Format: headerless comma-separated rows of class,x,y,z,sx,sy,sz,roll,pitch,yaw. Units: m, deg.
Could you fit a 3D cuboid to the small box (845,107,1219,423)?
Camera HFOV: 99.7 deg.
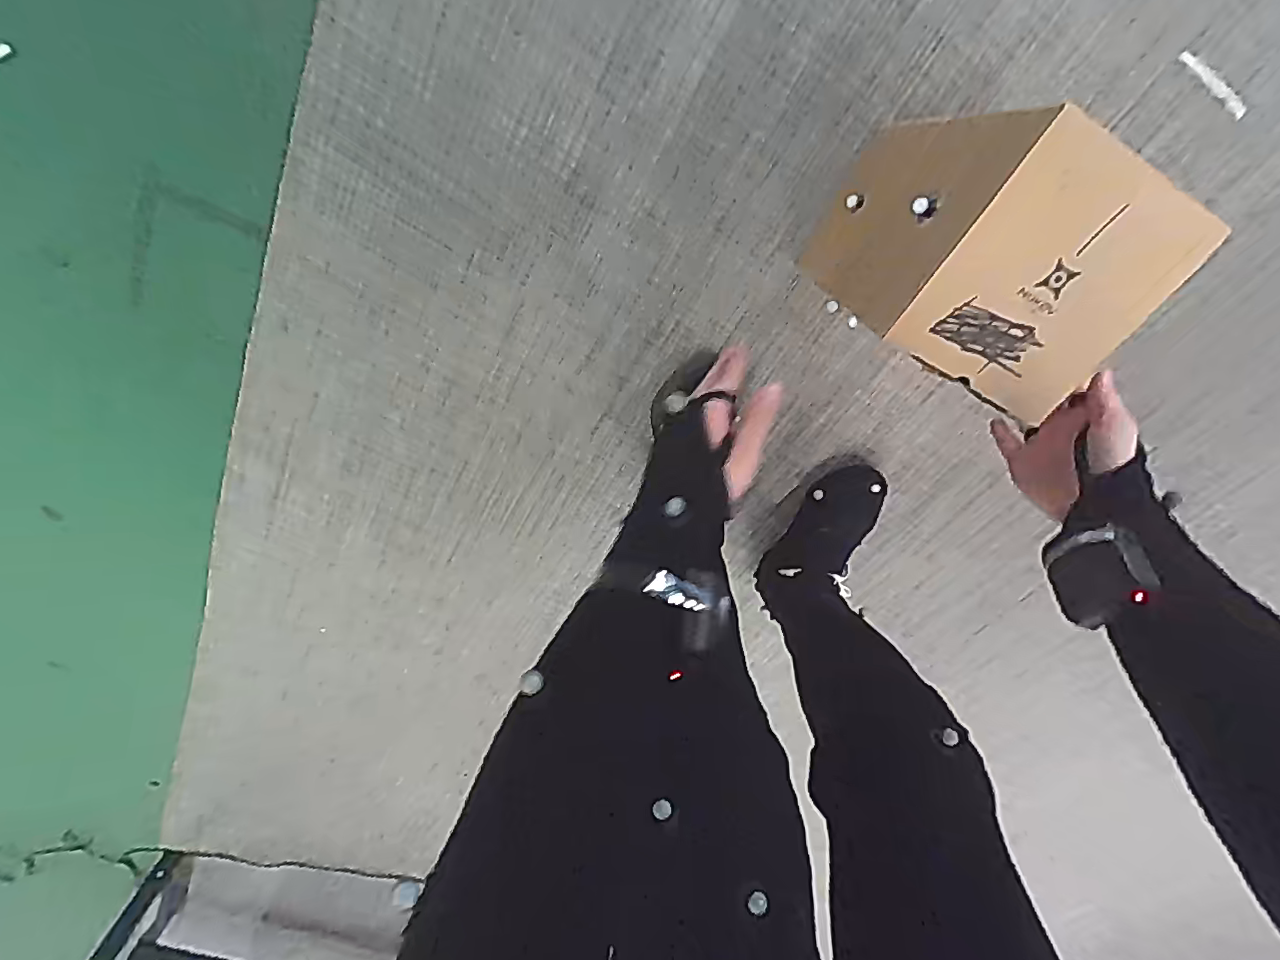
small box,0.308,-0.186,0.477,0.168,0.176,0.179,25,118,-13
